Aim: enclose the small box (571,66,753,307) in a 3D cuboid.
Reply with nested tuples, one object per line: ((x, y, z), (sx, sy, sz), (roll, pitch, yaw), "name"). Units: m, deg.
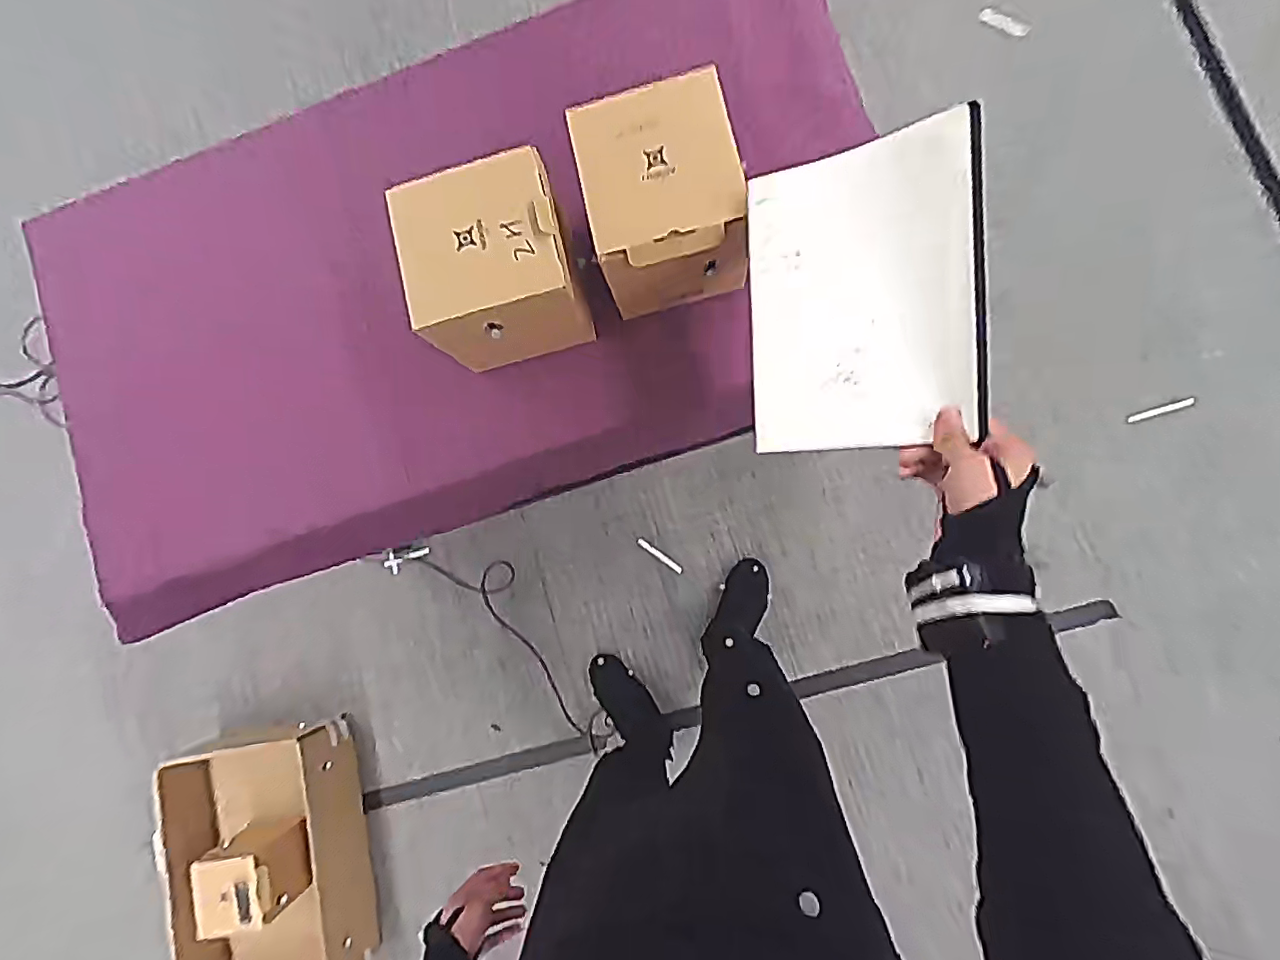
((0.031, -0.324, 0.640), (0.168, 0.176, 0.179), (-12, 83, 5), "small box")
